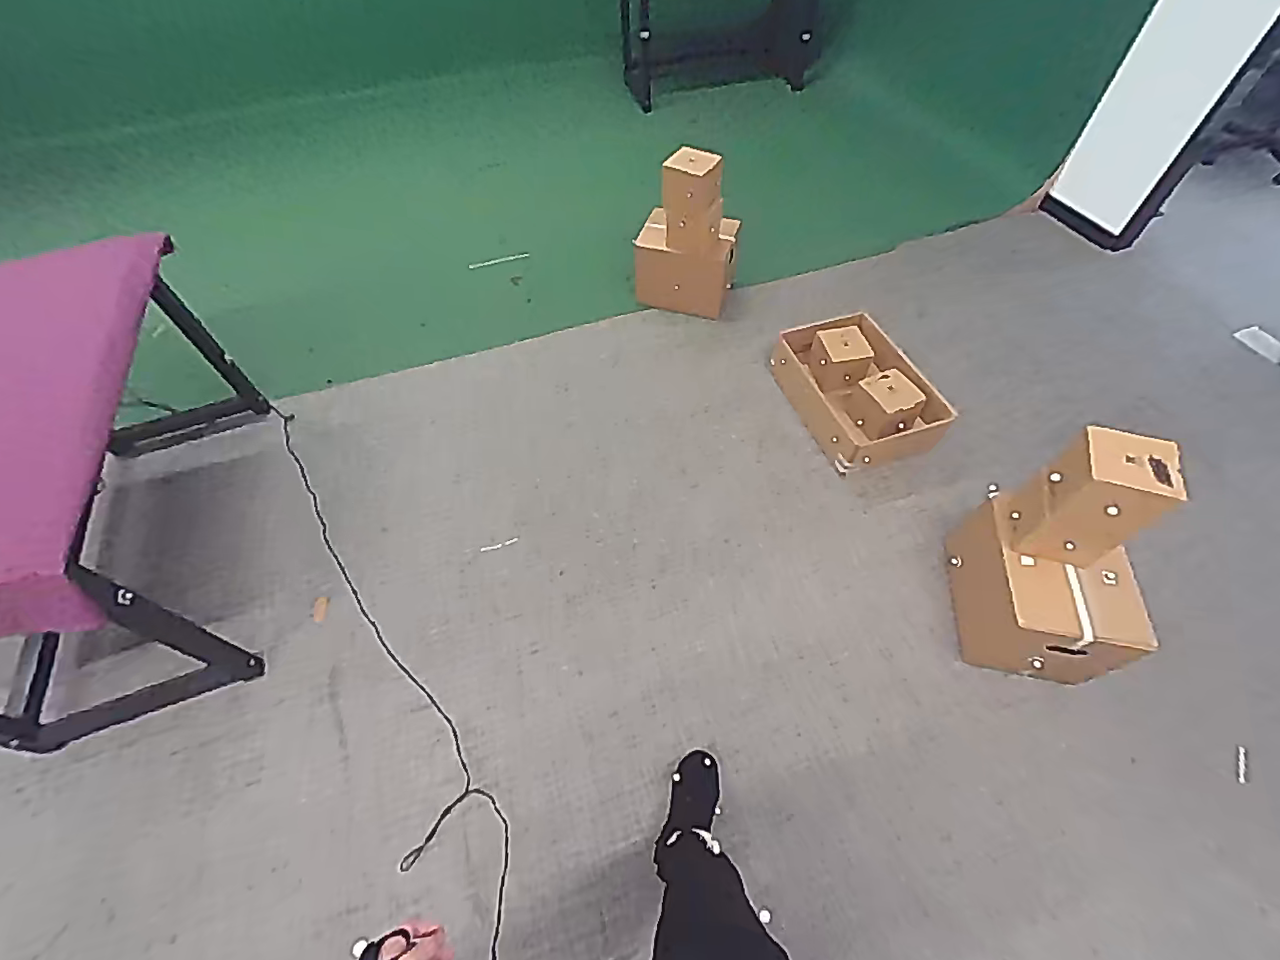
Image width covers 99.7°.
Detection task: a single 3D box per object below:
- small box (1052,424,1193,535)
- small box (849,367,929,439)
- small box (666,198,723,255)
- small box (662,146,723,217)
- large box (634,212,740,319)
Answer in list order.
[{"bbox_3d":[1.077,0.003,1.223,0.179,0.176,0.168,16,57,16],"label":"small box"},{"bbox_3d":[0.888,-0.267,1.944,0.168,0.176,0.179,-21,57,-11],"label":"small box"},{"bbox_3d":[0.223,-1.050,2.214,0.179,0.176,0.168,24,61,18],"label":"small box"},{"bbox_3d":[0.200,-1.145,2.082,0.179,0.176,0.168,28,62,21],"label":"small box"},{"bbox_3d":[0.215,-0.973,2.457,0.408,0.320,0.320,14,56,13],"label":"large box"}]
